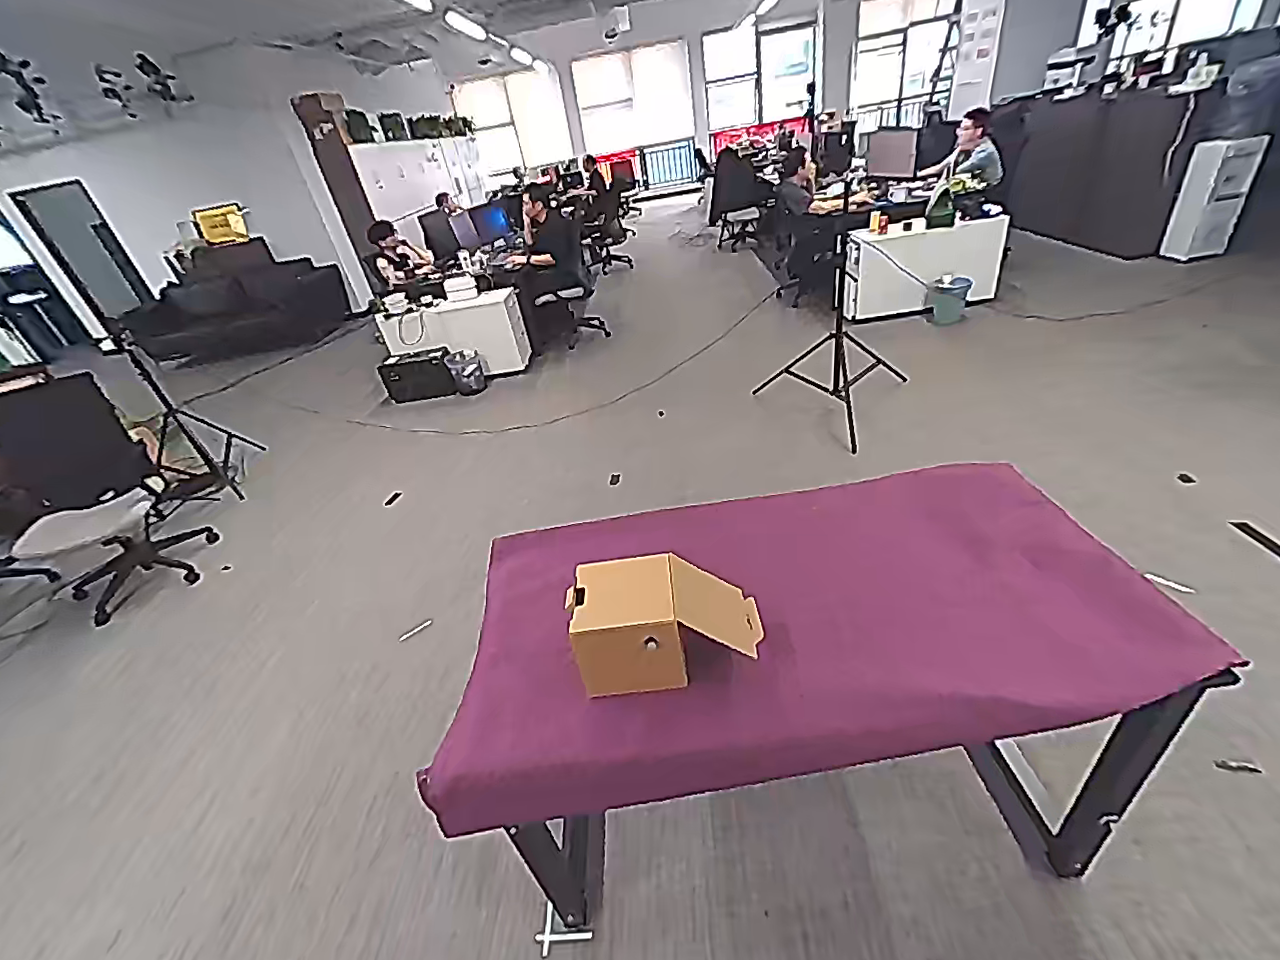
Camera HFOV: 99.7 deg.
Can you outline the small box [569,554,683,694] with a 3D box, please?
[{"bbox_3d":[-0.017,0.258,0.968,0.179,0.176,0.168,-8,32,5],"label":"small box"}]
